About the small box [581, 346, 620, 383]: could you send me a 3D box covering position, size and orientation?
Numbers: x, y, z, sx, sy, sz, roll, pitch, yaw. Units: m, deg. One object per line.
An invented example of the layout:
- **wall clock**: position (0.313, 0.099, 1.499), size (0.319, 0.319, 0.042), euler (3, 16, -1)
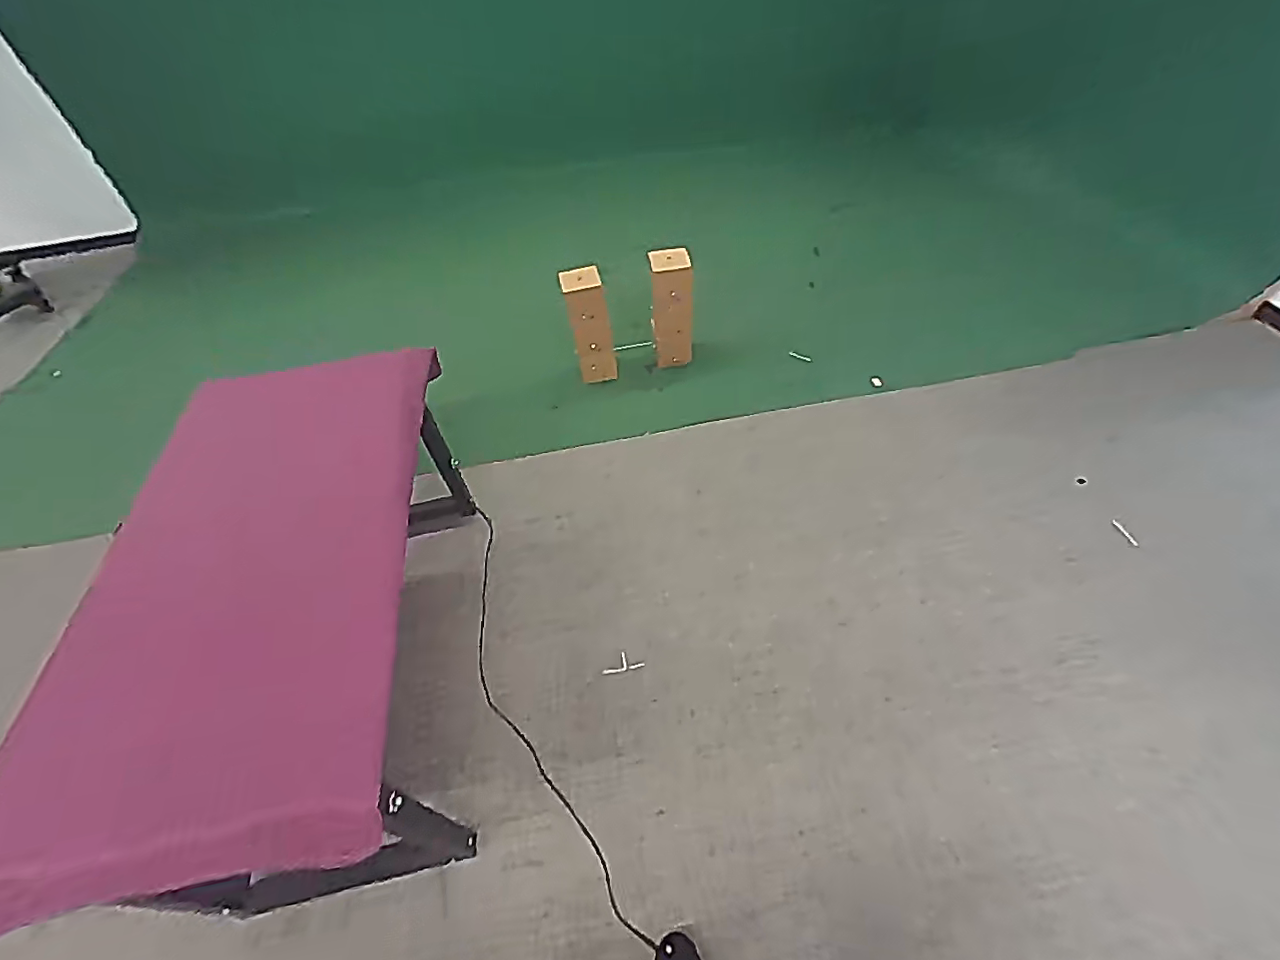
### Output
- **small box**: position (-0.194, -0.580, 2.586), size (0.168, 0.176, 0.179), euler (-10, 48, -2)

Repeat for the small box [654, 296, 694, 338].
- **small box**: position (0.155, -0.779, 2.501), size (0.168, 0.176, 0.179), euler (-8, 48, -1)

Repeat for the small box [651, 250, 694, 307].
- **small box**: position (0.140, -0.884, 2.374), size (0.168, 0.176, 0.179), euler (-8, 50, -1)

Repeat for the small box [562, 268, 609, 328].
- **small box**: position (-0.237, -0.785, 2.335), size (0.168, 0.176, 0.179), euler (-13, 48, -3)

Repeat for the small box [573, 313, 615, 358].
- **small box**: position (-0.215, -0.681, 2.458), size (0.168, 0.176, 0.179), euler (-13, 49, -4)
